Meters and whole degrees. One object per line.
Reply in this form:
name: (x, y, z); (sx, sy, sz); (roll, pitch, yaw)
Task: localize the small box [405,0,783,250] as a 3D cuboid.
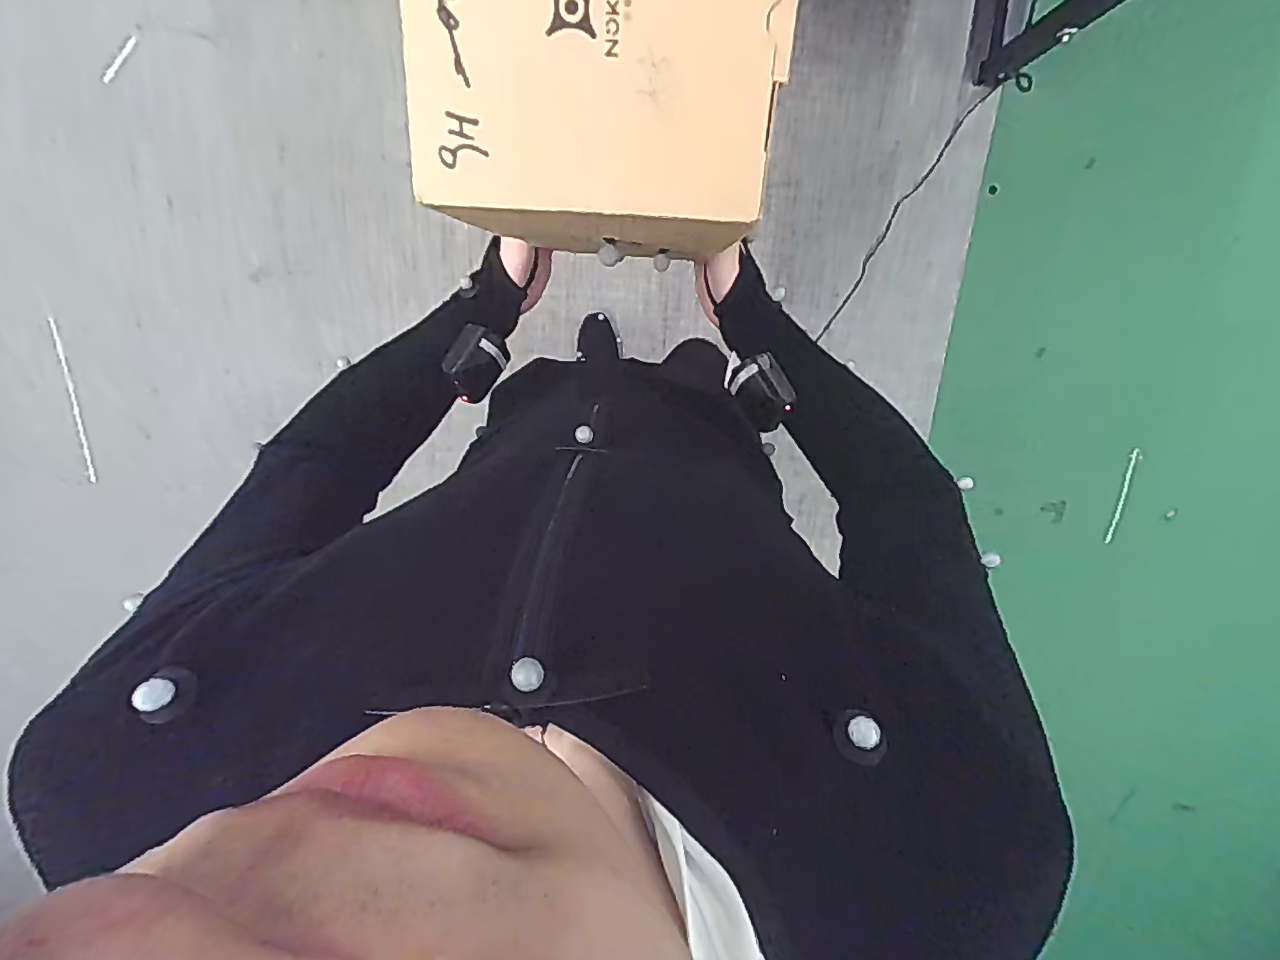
small box: (-0.021, -0.238, 0.326); (0.179, 0.176, 0.168); (4, 108, 0)

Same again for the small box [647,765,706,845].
small box: (0.122, 1.127, 1.883); (0.179, 0.176, 0.168); (7, 105, -2)

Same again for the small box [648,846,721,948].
small box: (0.123, 1.199, 1.563); (0.179, 0.176, 0.168); (9, 105, -3)
